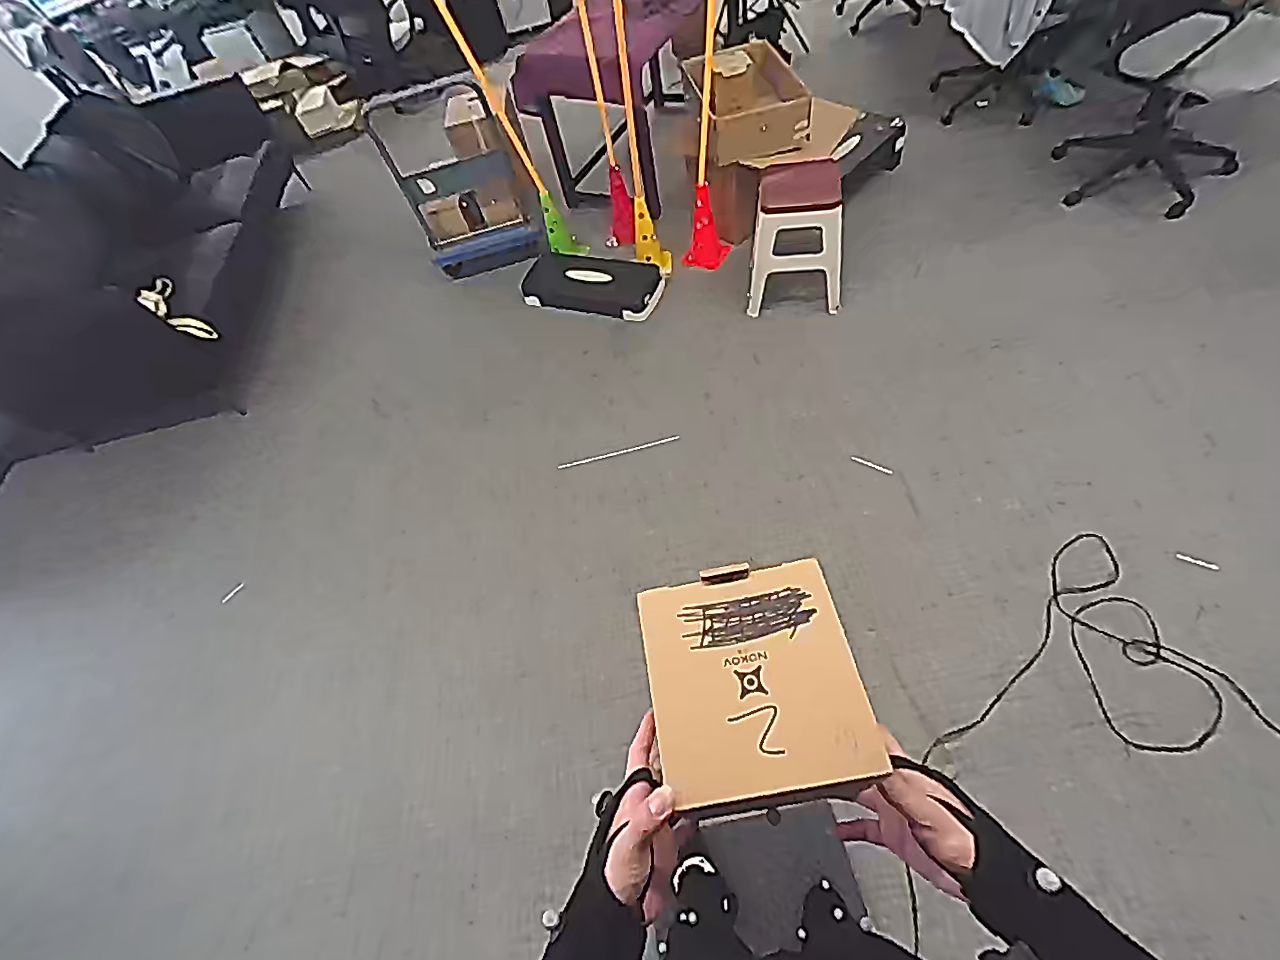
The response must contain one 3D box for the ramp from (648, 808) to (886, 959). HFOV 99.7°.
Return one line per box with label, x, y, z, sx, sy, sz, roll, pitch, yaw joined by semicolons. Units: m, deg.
ramp;0.318;1.232;1.025;0.509;0.206;0.991;-16;55;3
